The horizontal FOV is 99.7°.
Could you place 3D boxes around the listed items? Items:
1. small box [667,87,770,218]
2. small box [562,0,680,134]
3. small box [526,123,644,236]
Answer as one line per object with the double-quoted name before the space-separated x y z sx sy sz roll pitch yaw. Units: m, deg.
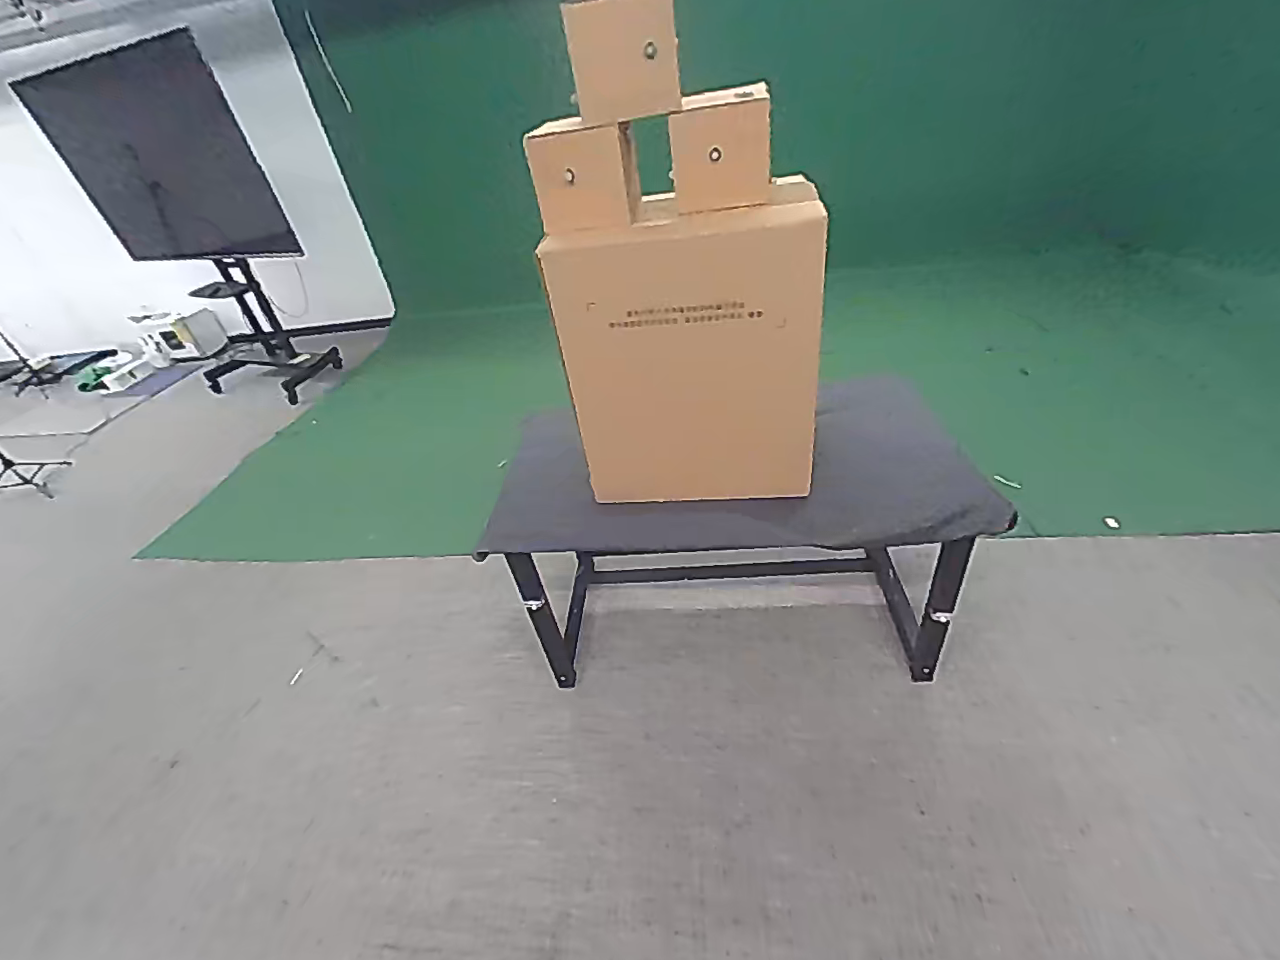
"small box" 0.156 -0.621 1.031 0.179 0.176 0.168 -2 41 12
"small box" -0.027 -0.725 0.946 0.179 0.176 0.168 -9 39 4
"small box" -0.099 -0.594 1.063 0.179 0.176 0.168 -2 41 11
